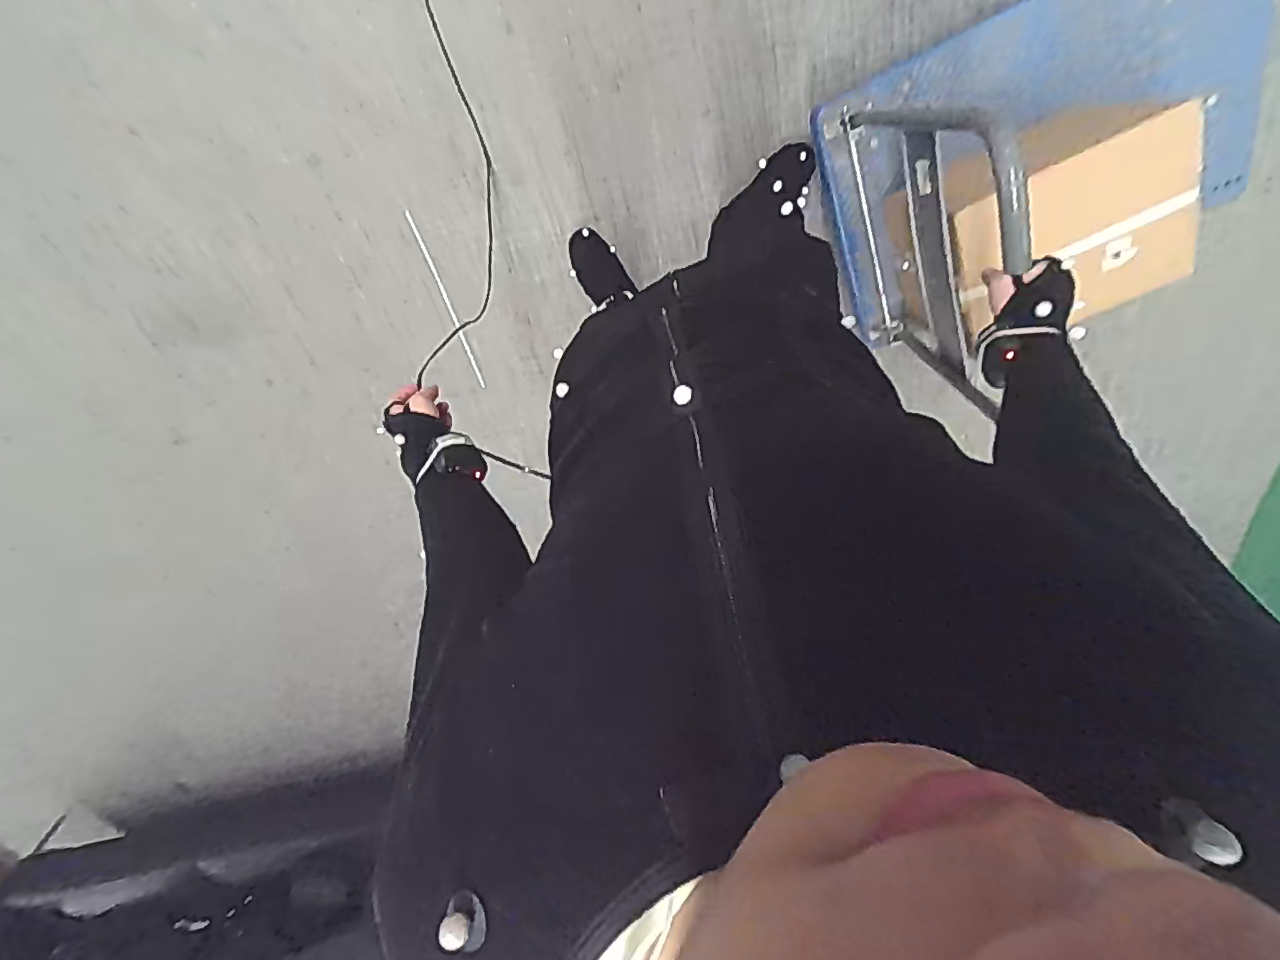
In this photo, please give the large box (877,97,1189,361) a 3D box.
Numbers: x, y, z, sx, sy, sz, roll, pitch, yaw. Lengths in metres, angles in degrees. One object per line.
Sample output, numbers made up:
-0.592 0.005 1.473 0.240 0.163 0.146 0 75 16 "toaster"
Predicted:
0.779 -0.511 1.122 0.408 0.320 0.320 -24 121 11 "large box"
